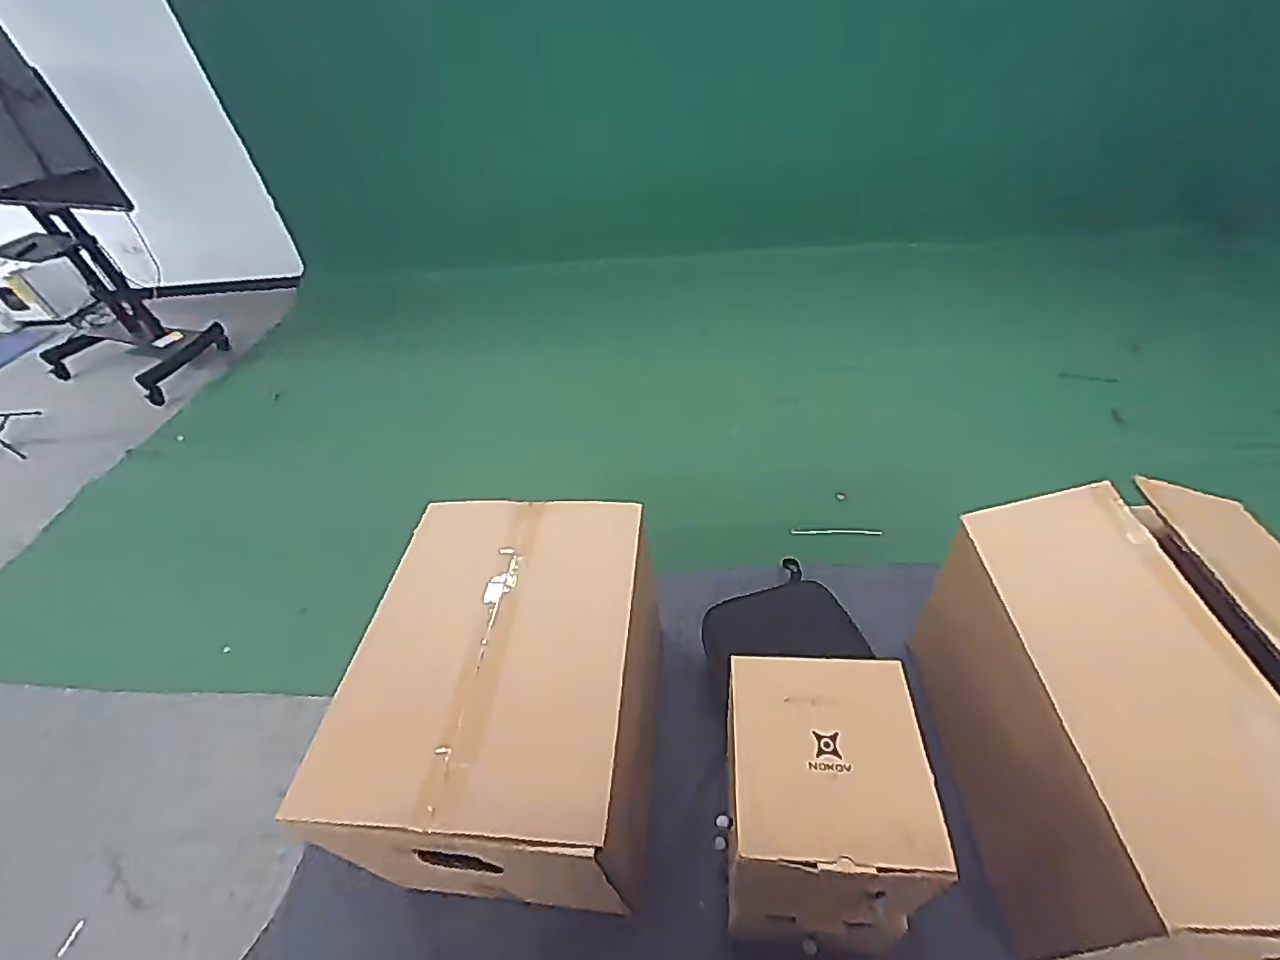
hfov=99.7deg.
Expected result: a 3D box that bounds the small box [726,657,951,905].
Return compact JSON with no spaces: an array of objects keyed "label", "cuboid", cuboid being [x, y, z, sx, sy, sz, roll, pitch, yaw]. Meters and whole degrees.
[{"label":"small box","cuboid":[0.173,0.298,0.537,0.168,0.176,0.179,0,43,6]}]
